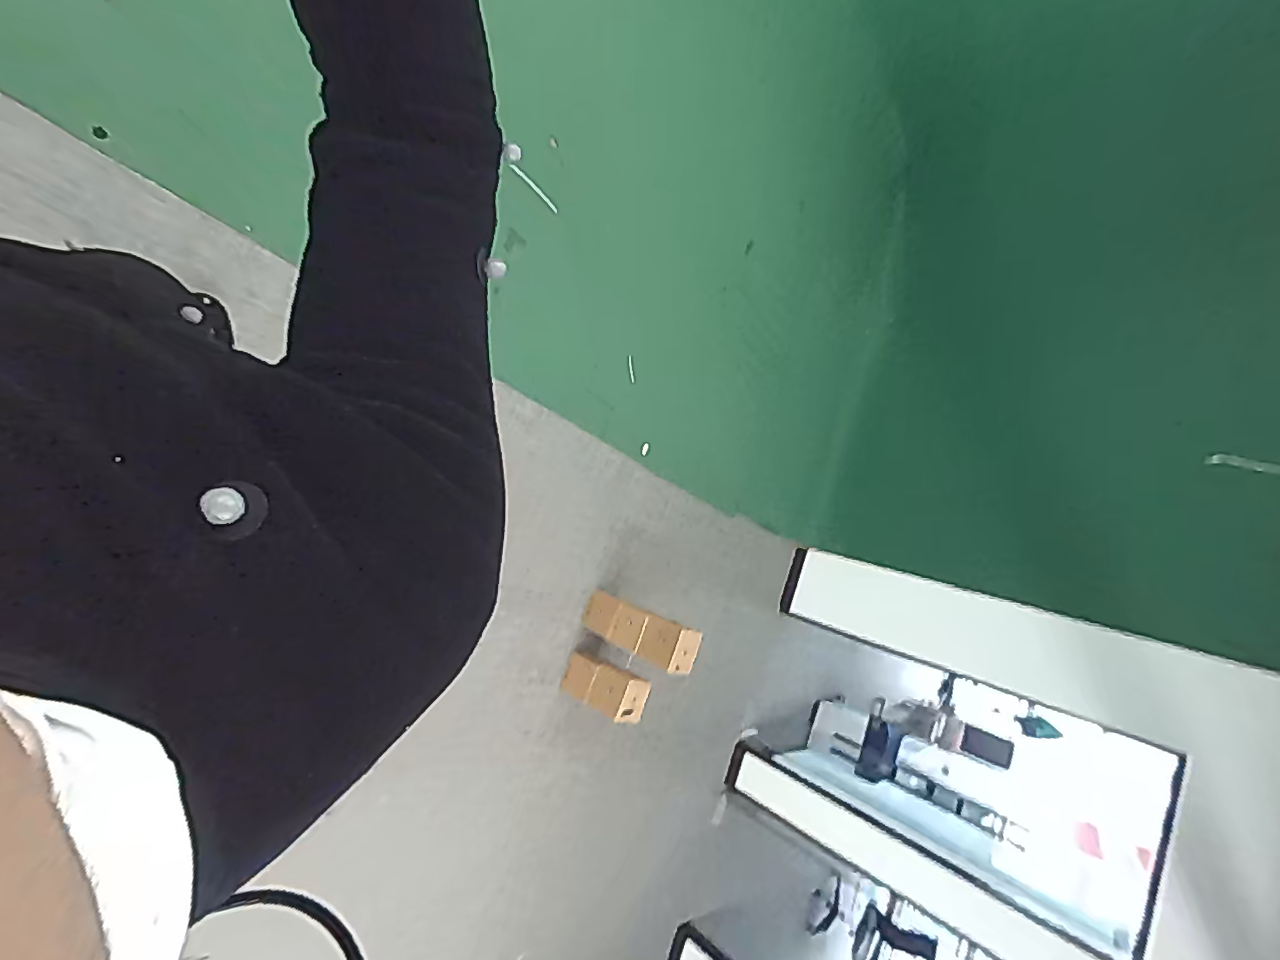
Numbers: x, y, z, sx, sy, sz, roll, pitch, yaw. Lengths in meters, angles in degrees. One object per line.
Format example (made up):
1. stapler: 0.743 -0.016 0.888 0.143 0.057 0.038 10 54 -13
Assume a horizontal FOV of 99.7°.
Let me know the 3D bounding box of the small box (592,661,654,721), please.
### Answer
1. small box: -0.076 0.878 2.248 0.168 0.176 0.179 32 75 -47

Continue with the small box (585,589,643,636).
1. small box: -0.111 0.592 2.382 0.179 0.176 0.168 31 78 -46

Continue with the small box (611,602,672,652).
1. small box: 0.005 0.621 2.274 0.179 0.176 0.168 27 80 -48

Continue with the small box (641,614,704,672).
1. small box: 0.127 0.652 2.168 0.168 0.176 0.179 28 78 -47
